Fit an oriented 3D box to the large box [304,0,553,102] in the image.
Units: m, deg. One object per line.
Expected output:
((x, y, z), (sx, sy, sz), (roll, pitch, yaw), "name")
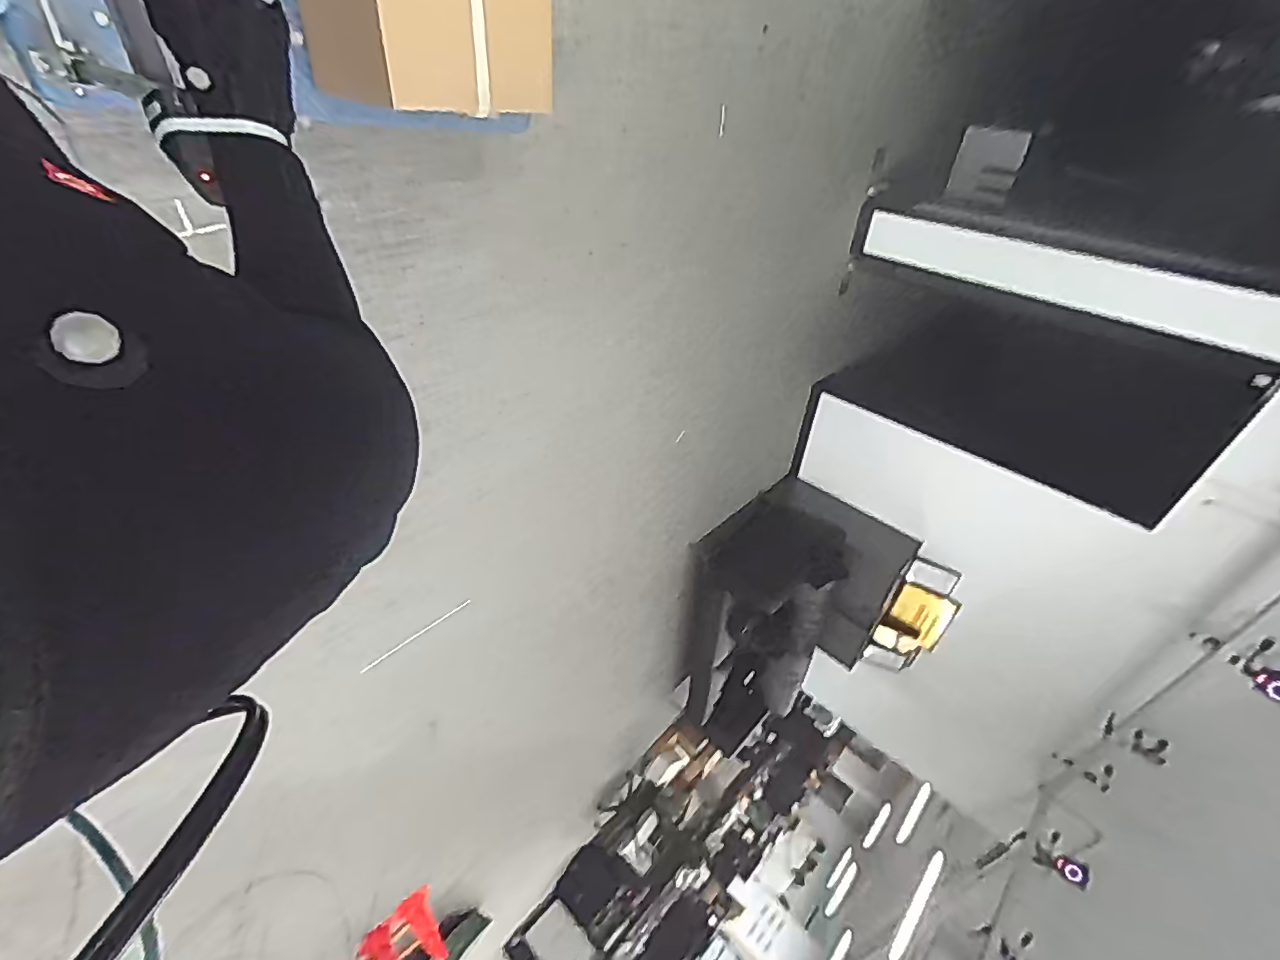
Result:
((-0.367, -0.876, 0.892), (0.320, 0.320, 0.408), (-29, 138, -36), "large box")
